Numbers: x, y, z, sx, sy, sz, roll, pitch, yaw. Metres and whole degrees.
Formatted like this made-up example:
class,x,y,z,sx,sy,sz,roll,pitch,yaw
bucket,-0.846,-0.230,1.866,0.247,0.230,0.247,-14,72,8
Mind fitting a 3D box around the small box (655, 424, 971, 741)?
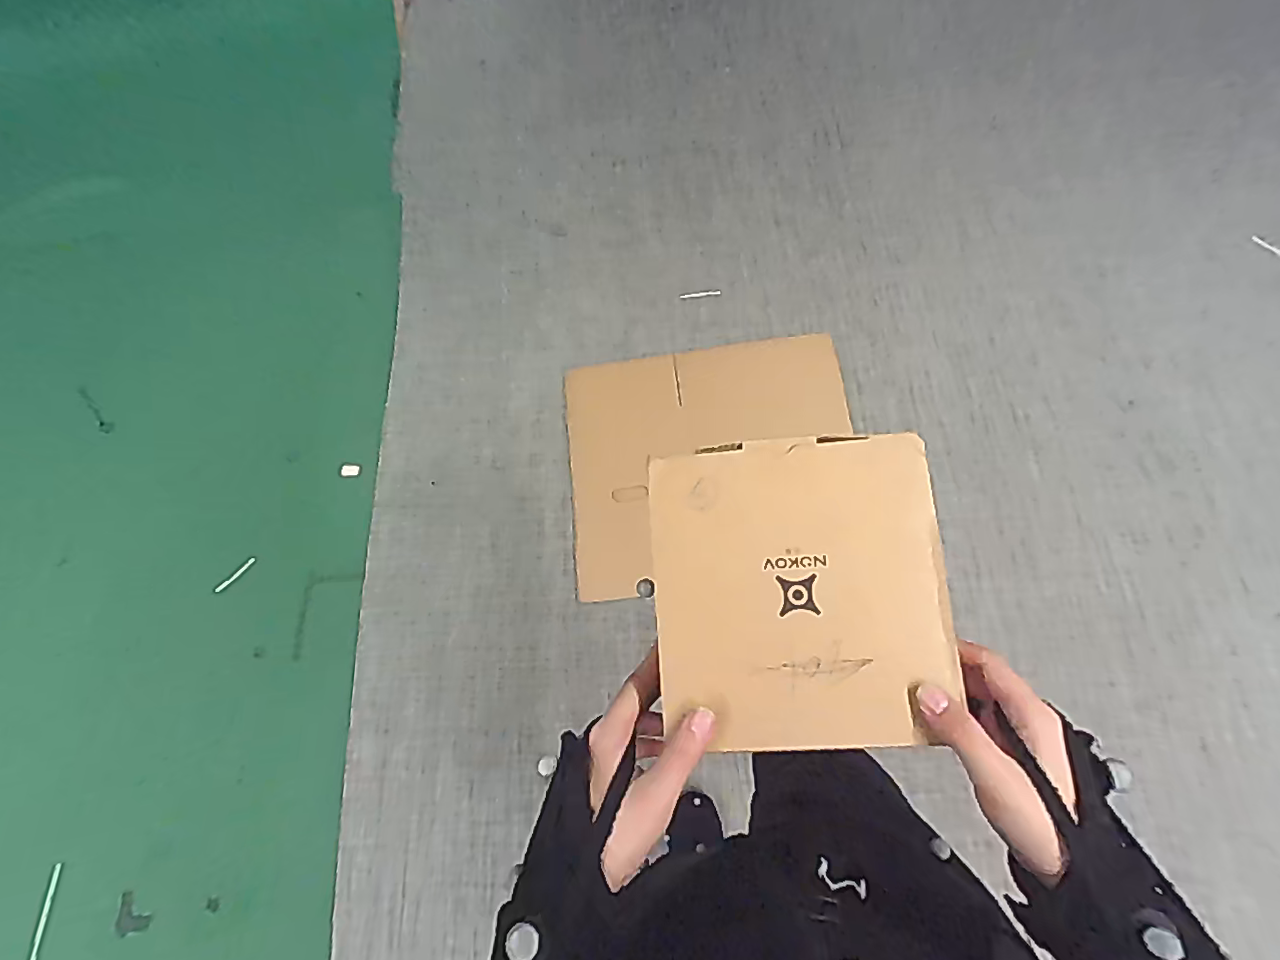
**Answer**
class,x,y,z,sx,sy,sz,roll,pitch,yaw
small box,0.101,0.070,0.390,0.168,0.176,0.179,-5,80,6
